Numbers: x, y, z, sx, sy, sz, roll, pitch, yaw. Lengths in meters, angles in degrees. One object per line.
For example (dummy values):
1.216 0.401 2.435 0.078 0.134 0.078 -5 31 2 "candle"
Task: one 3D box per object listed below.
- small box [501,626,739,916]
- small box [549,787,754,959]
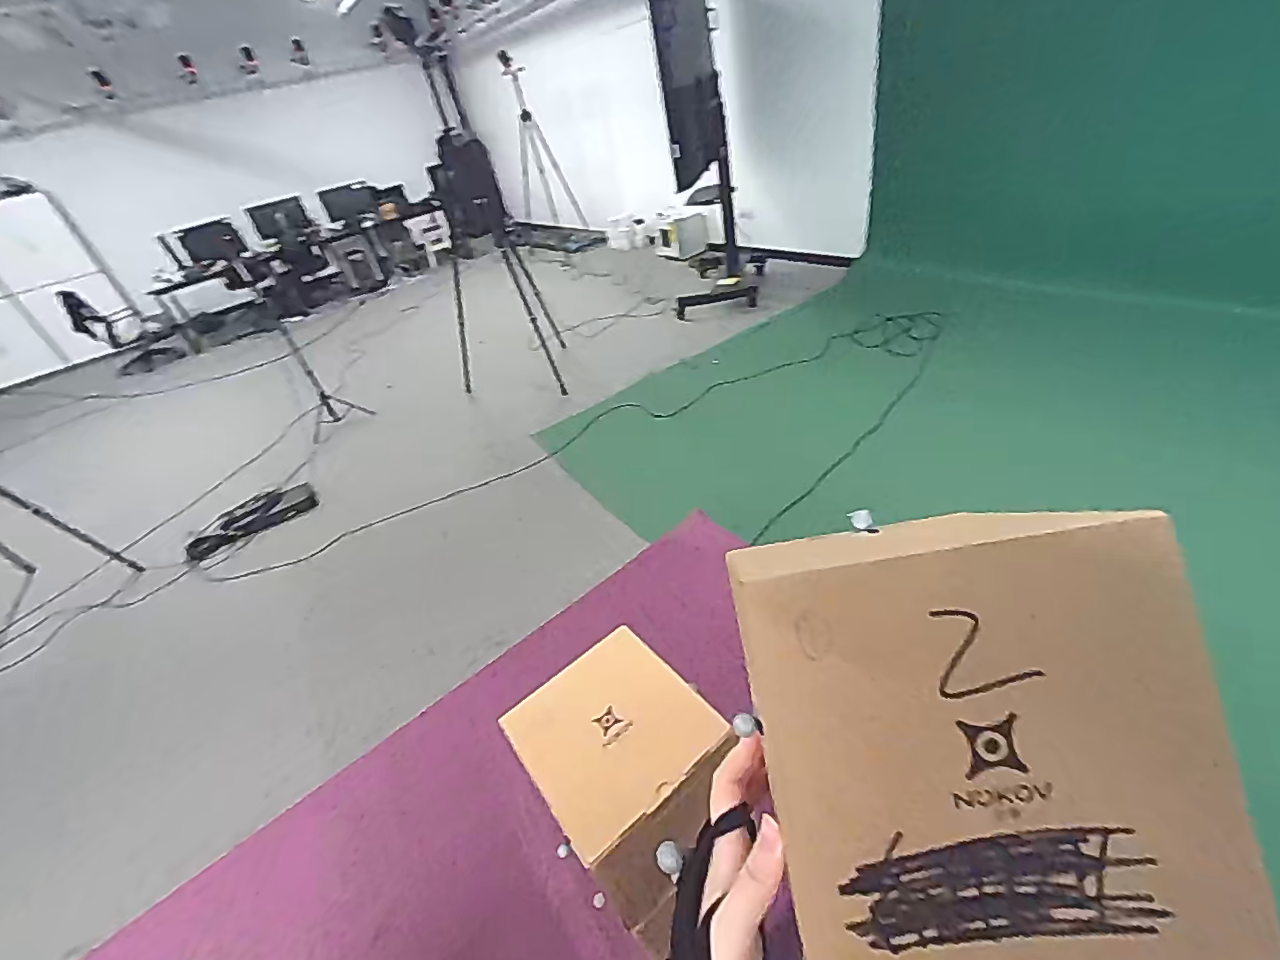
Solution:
-0.016 0.298 0.569 0.168 0.176 0.179 -32 40 -24 "small box"
0.023 0.428 0.661 0.179 0.176 0.168 -34 40 -25 "small box"
